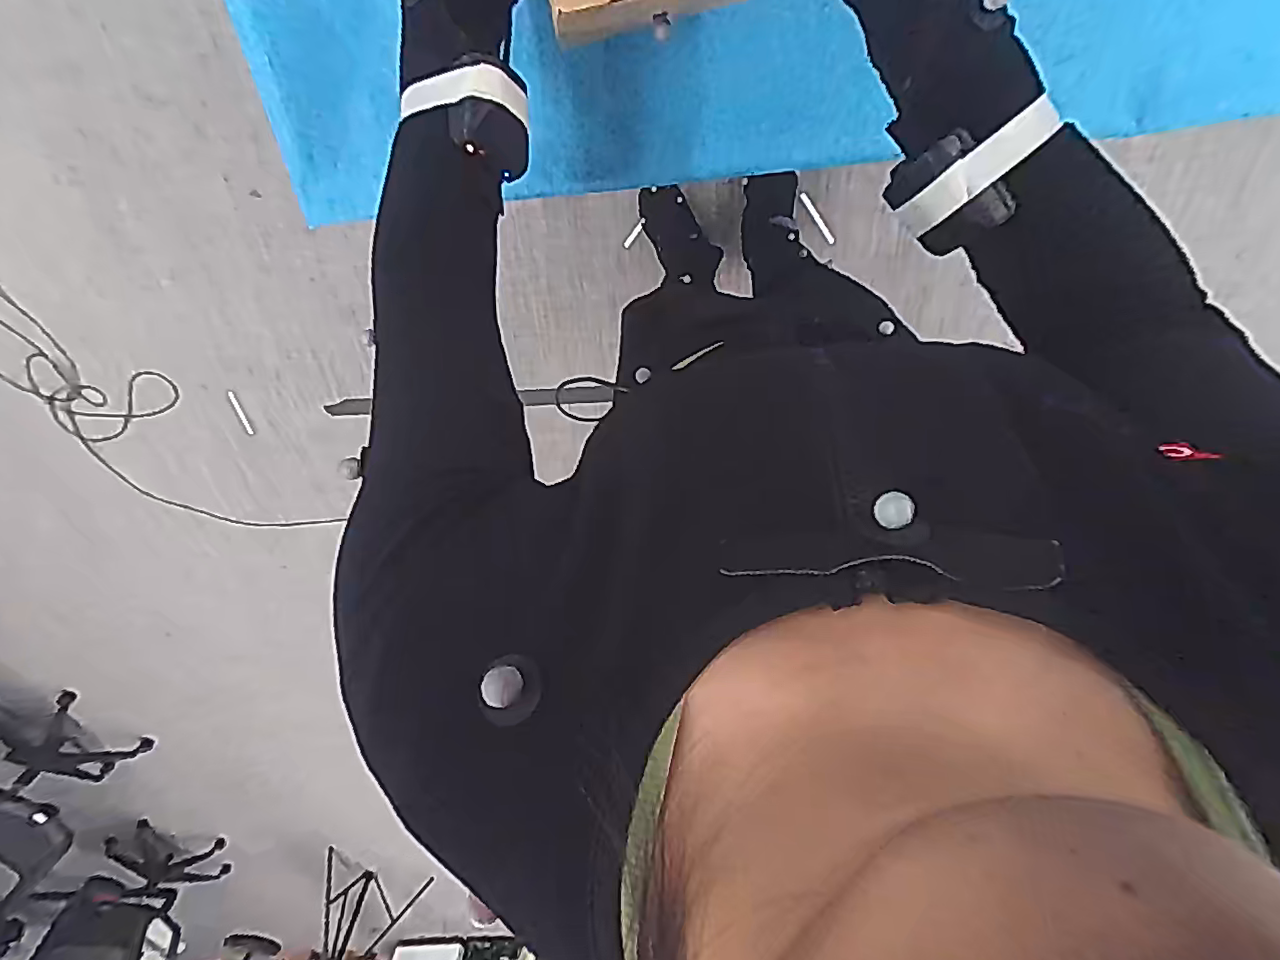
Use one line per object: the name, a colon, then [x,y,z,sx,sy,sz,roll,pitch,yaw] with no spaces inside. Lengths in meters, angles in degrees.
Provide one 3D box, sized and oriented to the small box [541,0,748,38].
small box: [0.000,-0.411,0.345,0.168,0.176,0.179,-10,126,0]
